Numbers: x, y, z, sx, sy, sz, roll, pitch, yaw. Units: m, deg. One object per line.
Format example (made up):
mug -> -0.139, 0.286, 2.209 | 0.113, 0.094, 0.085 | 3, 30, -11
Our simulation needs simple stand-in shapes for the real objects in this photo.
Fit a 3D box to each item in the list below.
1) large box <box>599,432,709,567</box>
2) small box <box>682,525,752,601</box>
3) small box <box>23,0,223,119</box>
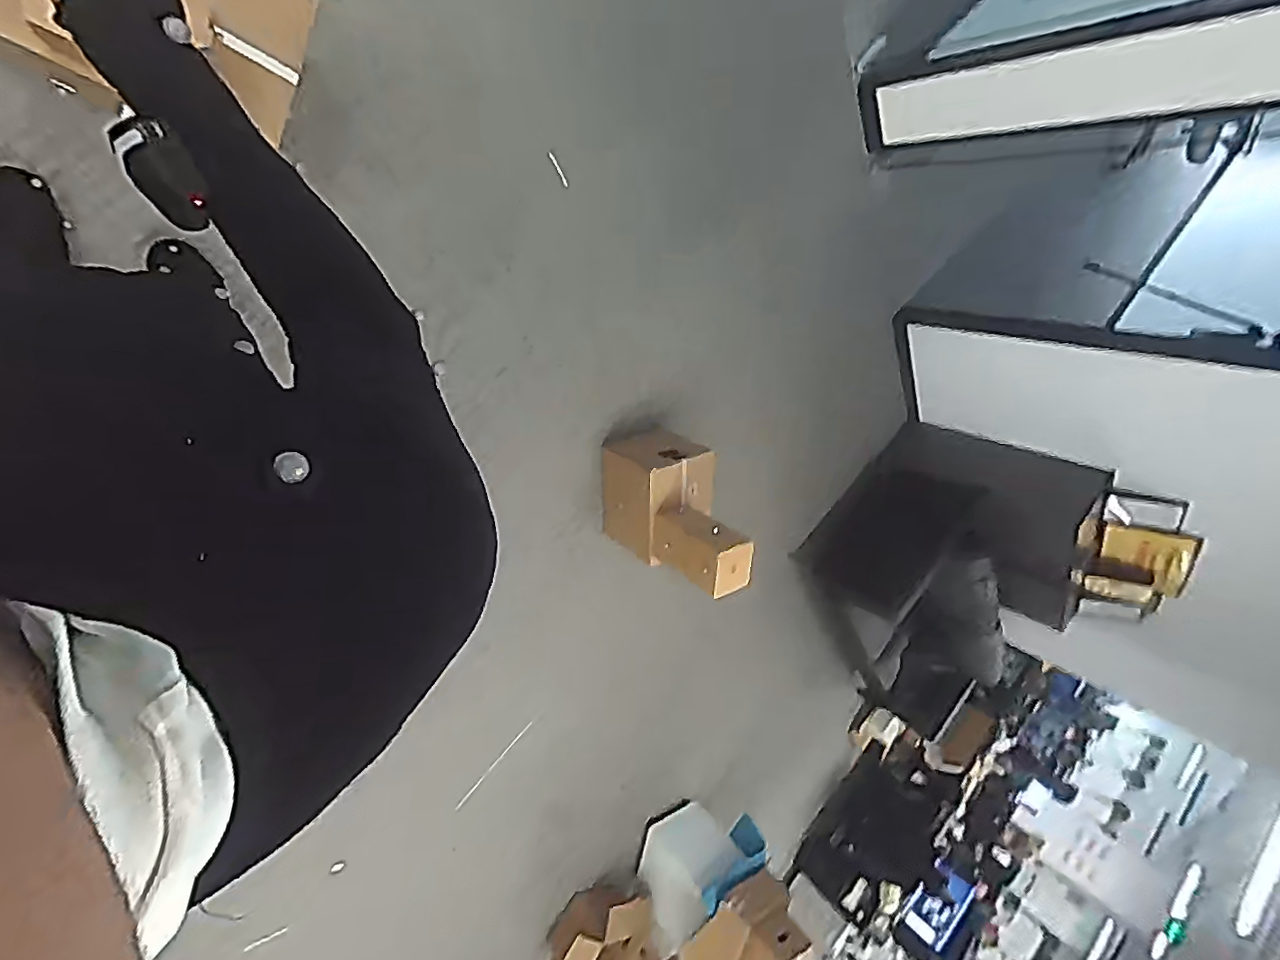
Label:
large box -> 0.055, 0.065, 2.143 | 0.320, 0.320, 0.408 | -20, 120, -34
small box -> 0.258, 0.278, 1.845 | 0.168, 0.176, 0.179 | -14, 117, -34
small box -> -0.736, -0.659, 0.784 | 0.179, 0.176, 0.168 | 13, 101, -43
